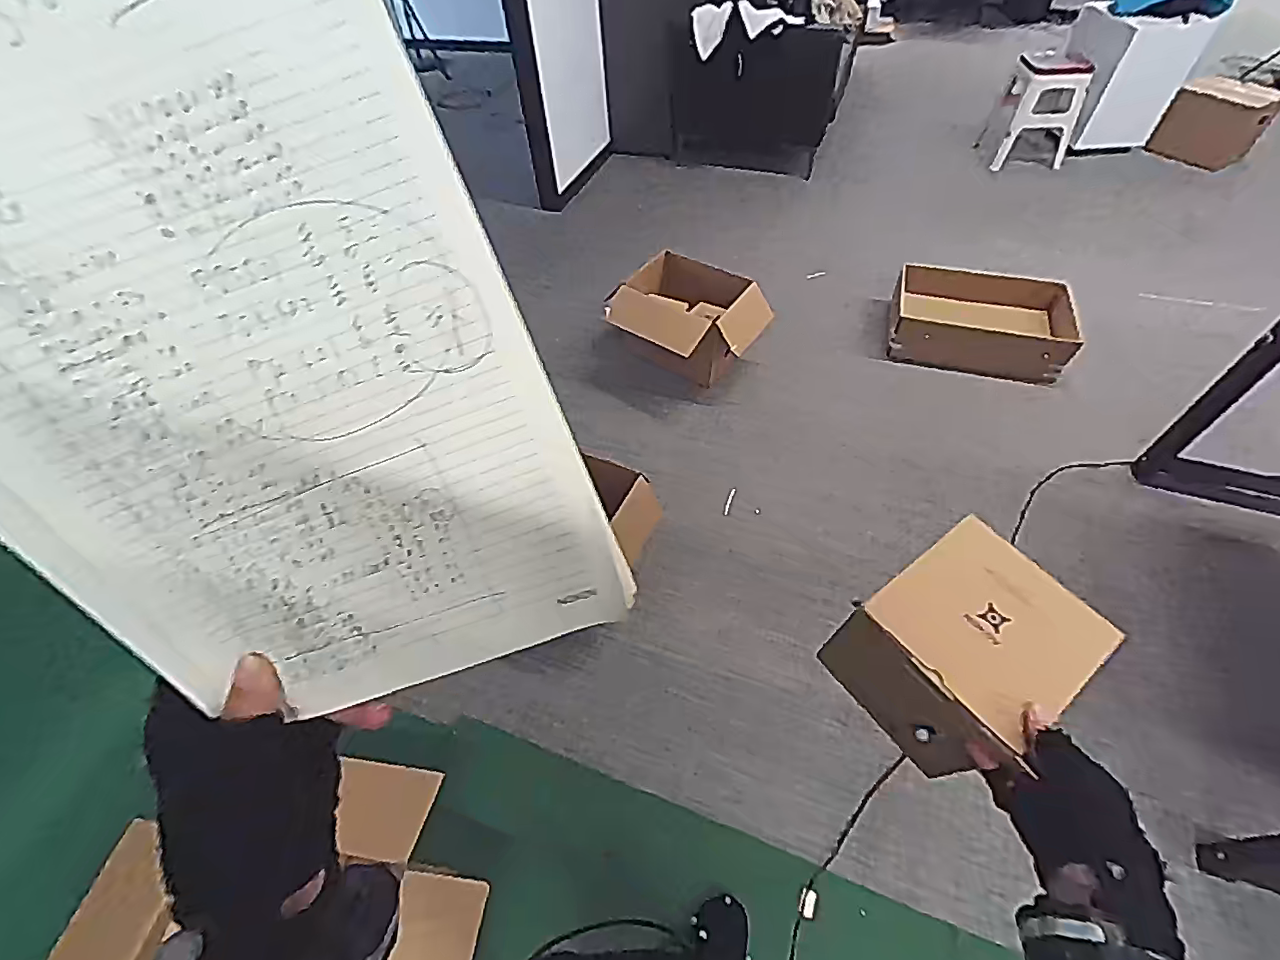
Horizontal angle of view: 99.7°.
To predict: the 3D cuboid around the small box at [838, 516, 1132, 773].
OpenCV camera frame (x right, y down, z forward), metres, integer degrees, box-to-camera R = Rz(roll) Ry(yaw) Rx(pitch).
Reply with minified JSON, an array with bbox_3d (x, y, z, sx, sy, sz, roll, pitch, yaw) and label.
[{"bbox_3d":[0.333,0.177,0.567,0.179,0.176,0.168,-31,61,-18],"label":"small box"}]
